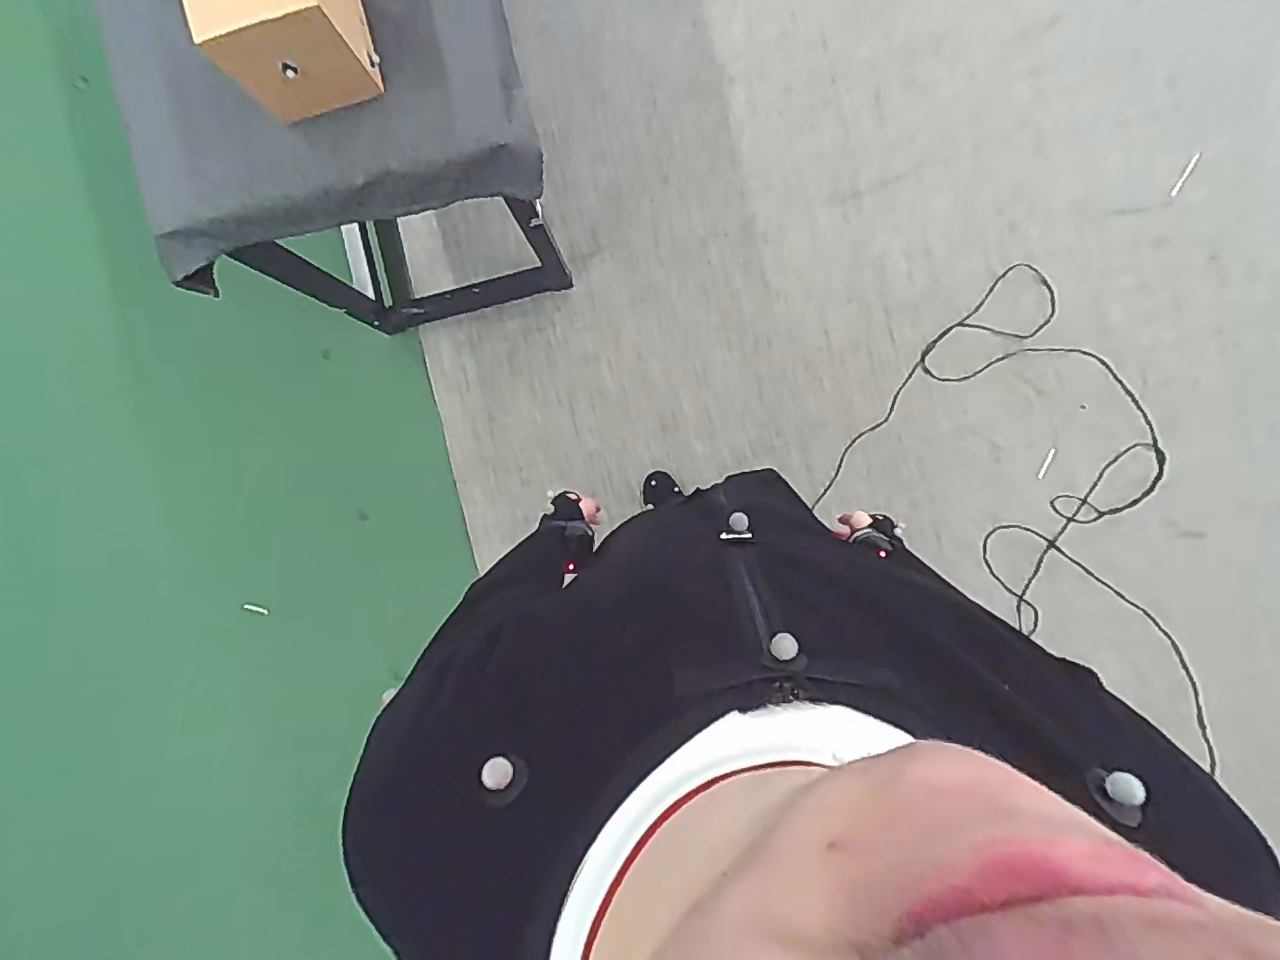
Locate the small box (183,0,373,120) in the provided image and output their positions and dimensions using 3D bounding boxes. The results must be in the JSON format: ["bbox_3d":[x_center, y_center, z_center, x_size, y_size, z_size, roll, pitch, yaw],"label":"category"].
[{"bbox_3d":[-0.511,-0.665,0.775,0.179,0.176,0.168,-15,90,2],"label":"small box"}]
